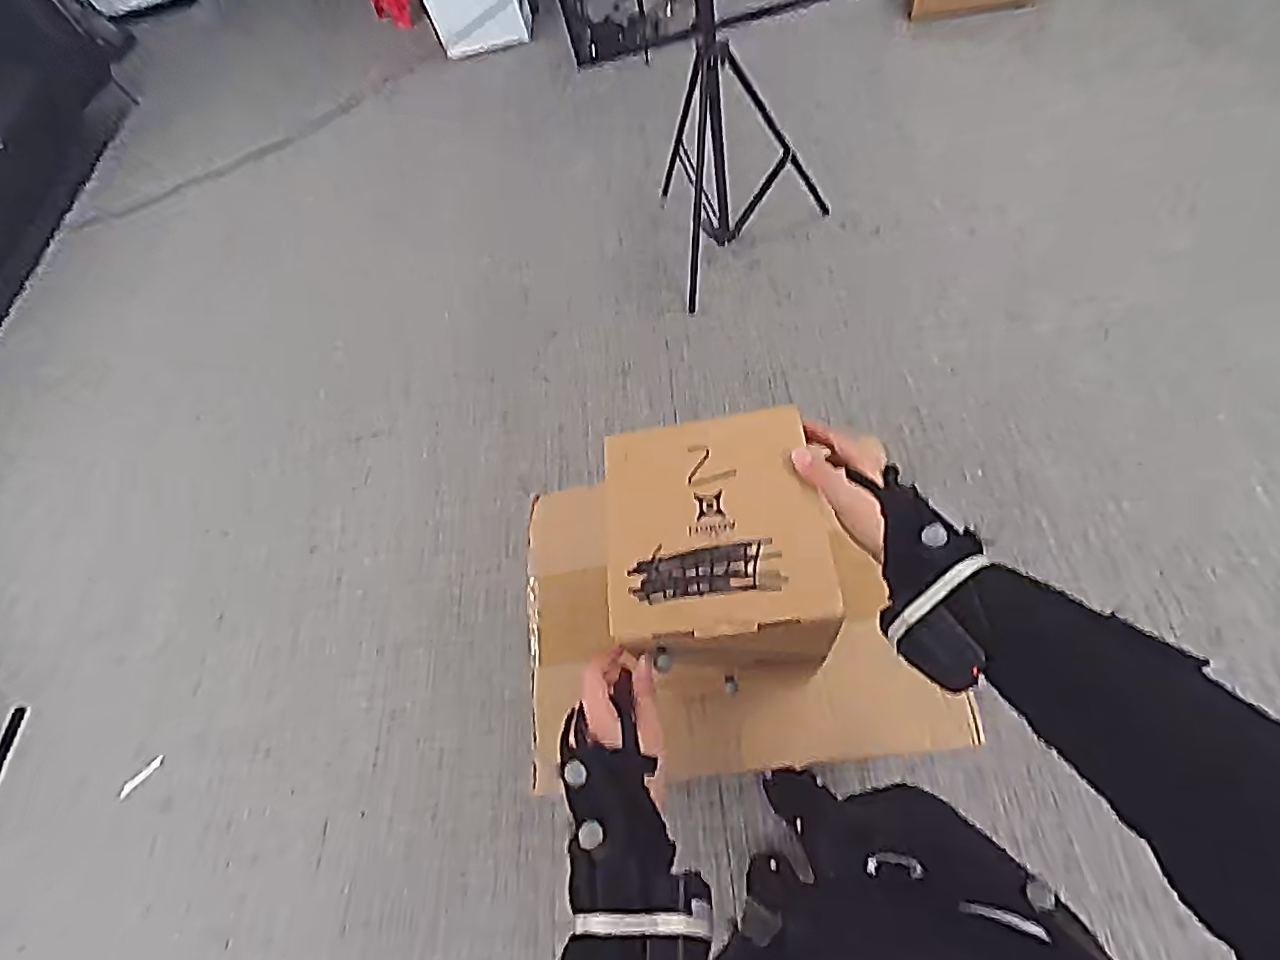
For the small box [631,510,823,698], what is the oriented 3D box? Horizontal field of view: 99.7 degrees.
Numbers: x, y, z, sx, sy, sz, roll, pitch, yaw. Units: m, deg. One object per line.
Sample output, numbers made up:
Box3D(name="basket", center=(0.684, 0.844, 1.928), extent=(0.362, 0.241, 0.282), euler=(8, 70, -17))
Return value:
Box3D(name="small box", center=(0.096, 0.151, 0.624), extent=(0.179, 0.176, 0.168), euler=(-10, 62, 8))
